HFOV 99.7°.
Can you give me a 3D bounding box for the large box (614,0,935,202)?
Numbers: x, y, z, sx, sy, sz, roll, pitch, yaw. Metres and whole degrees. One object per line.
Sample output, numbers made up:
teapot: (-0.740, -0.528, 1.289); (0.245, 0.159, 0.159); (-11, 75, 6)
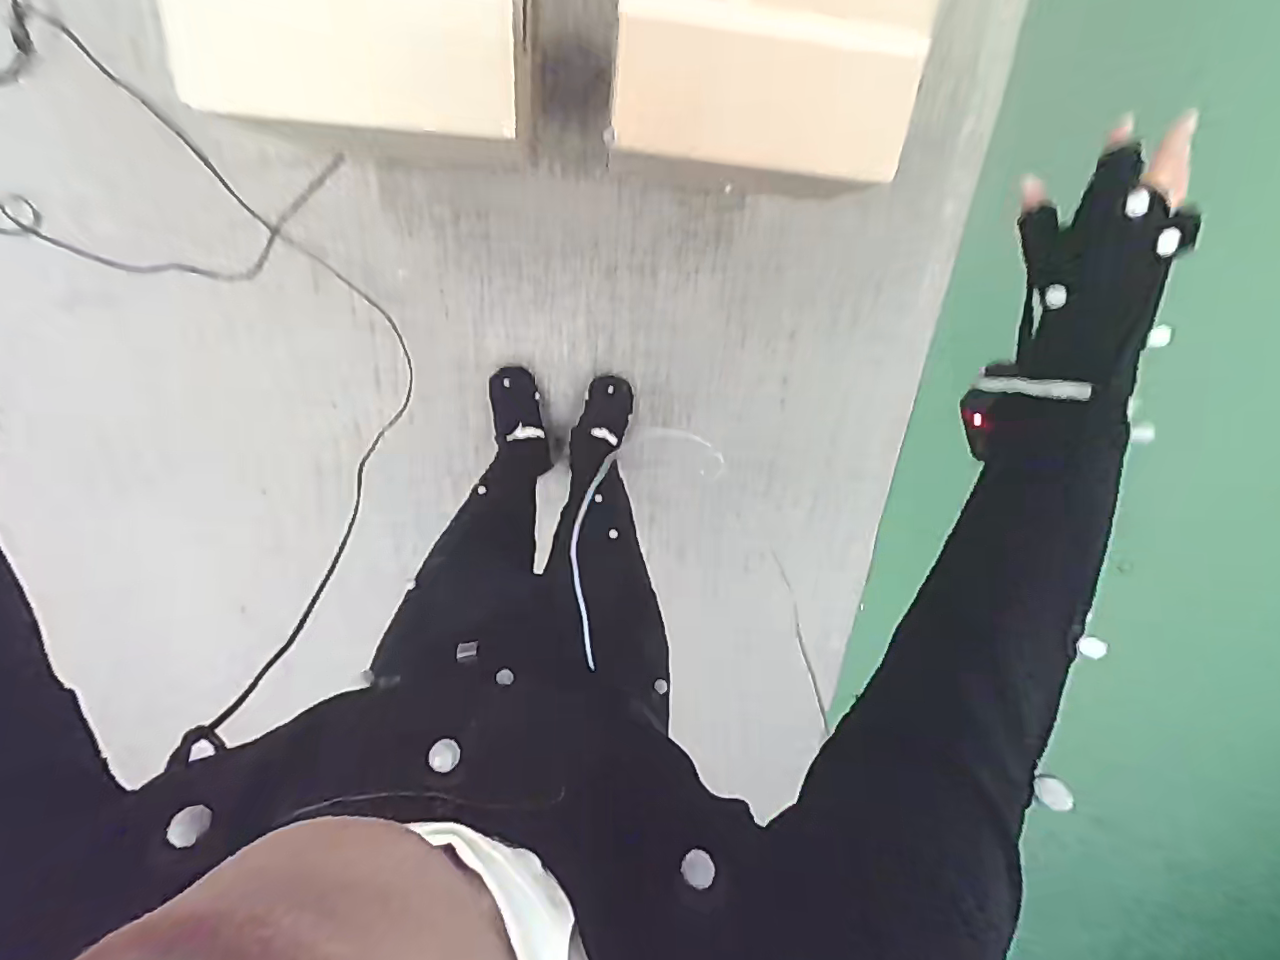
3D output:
large box: (0.173, -0.635, 0.850); (0.408, 0.320, 0.320); (5, 112, -6)
